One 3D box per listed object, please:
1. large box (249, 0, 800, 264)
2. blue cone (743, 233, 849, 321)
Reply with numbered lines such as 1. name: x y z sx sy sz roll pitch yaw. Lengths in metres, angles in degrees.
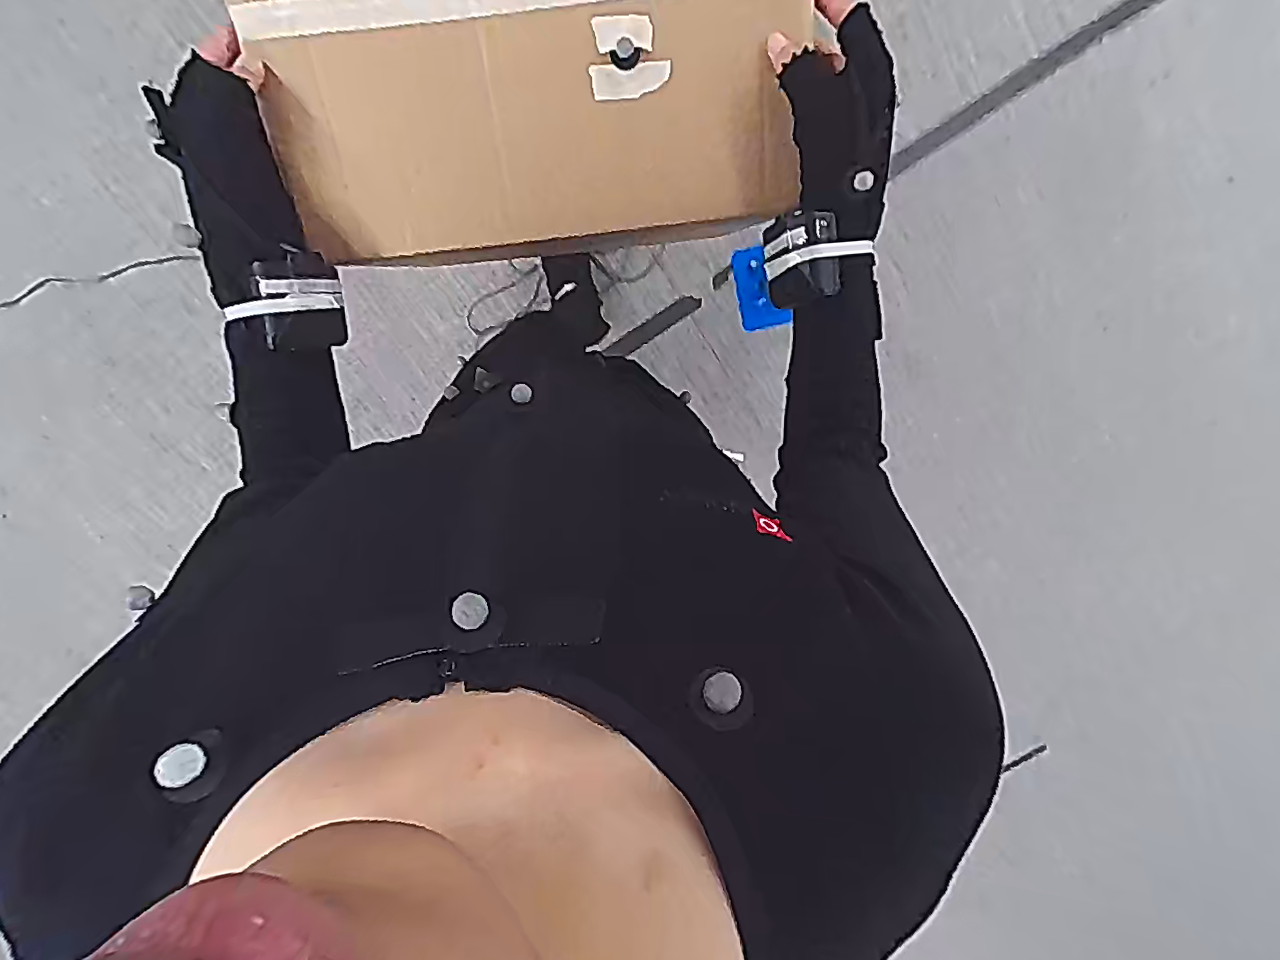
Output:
1. large box: -0.092 -0.406 0.531 0.408 0.320 0.320 -7 111 -1
2. blue cone: 0.365 -0.459 1.203 0.192 0.380 0.193 -12 107 2
